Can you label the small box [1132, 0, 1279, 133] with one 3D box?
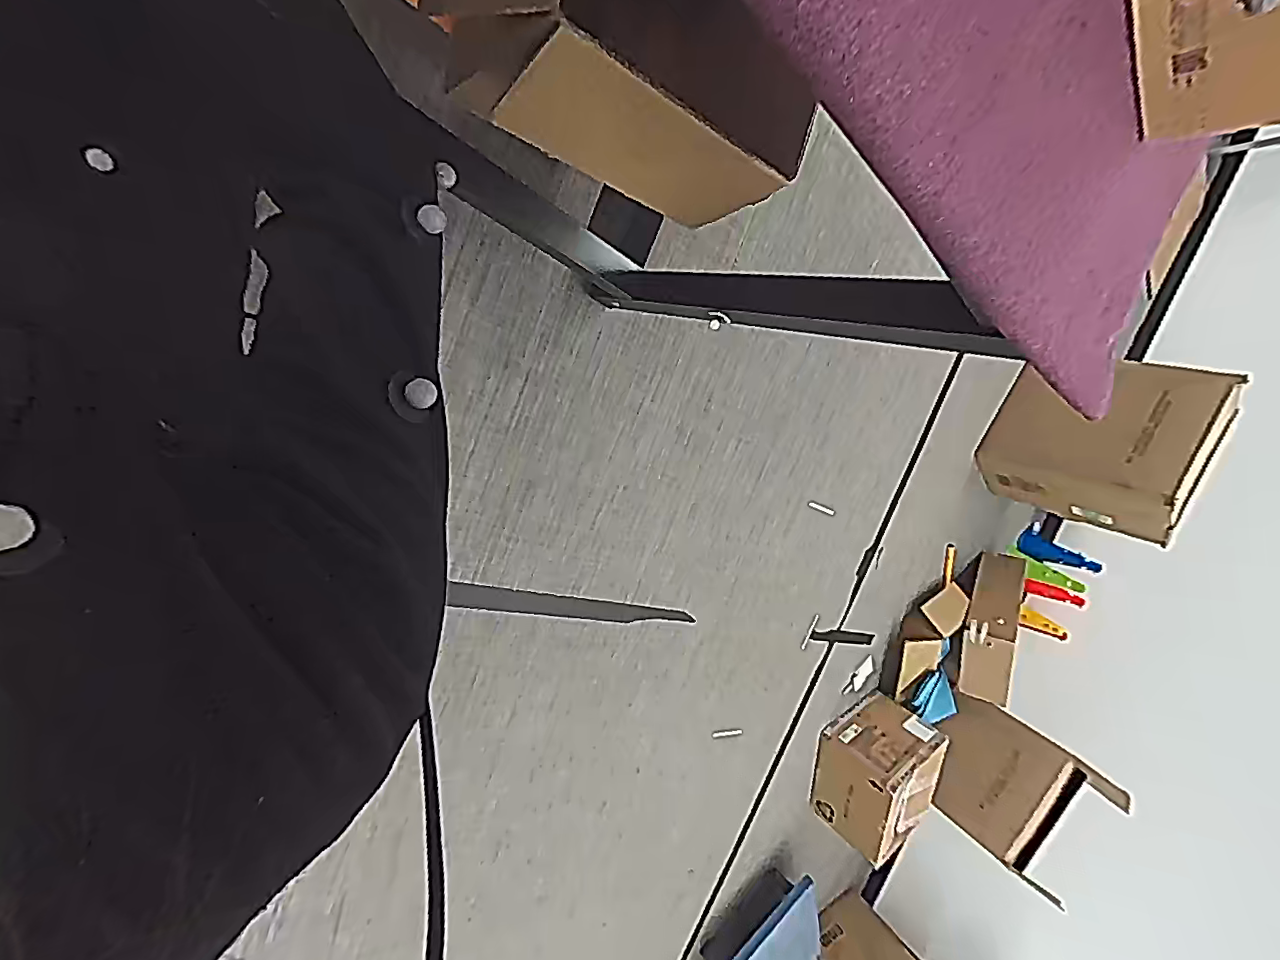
[{"bbox_3d":[0.368,-0.305,0.250,0.168,0.176,0.179,23,92,-42],"label":"small box"}]
